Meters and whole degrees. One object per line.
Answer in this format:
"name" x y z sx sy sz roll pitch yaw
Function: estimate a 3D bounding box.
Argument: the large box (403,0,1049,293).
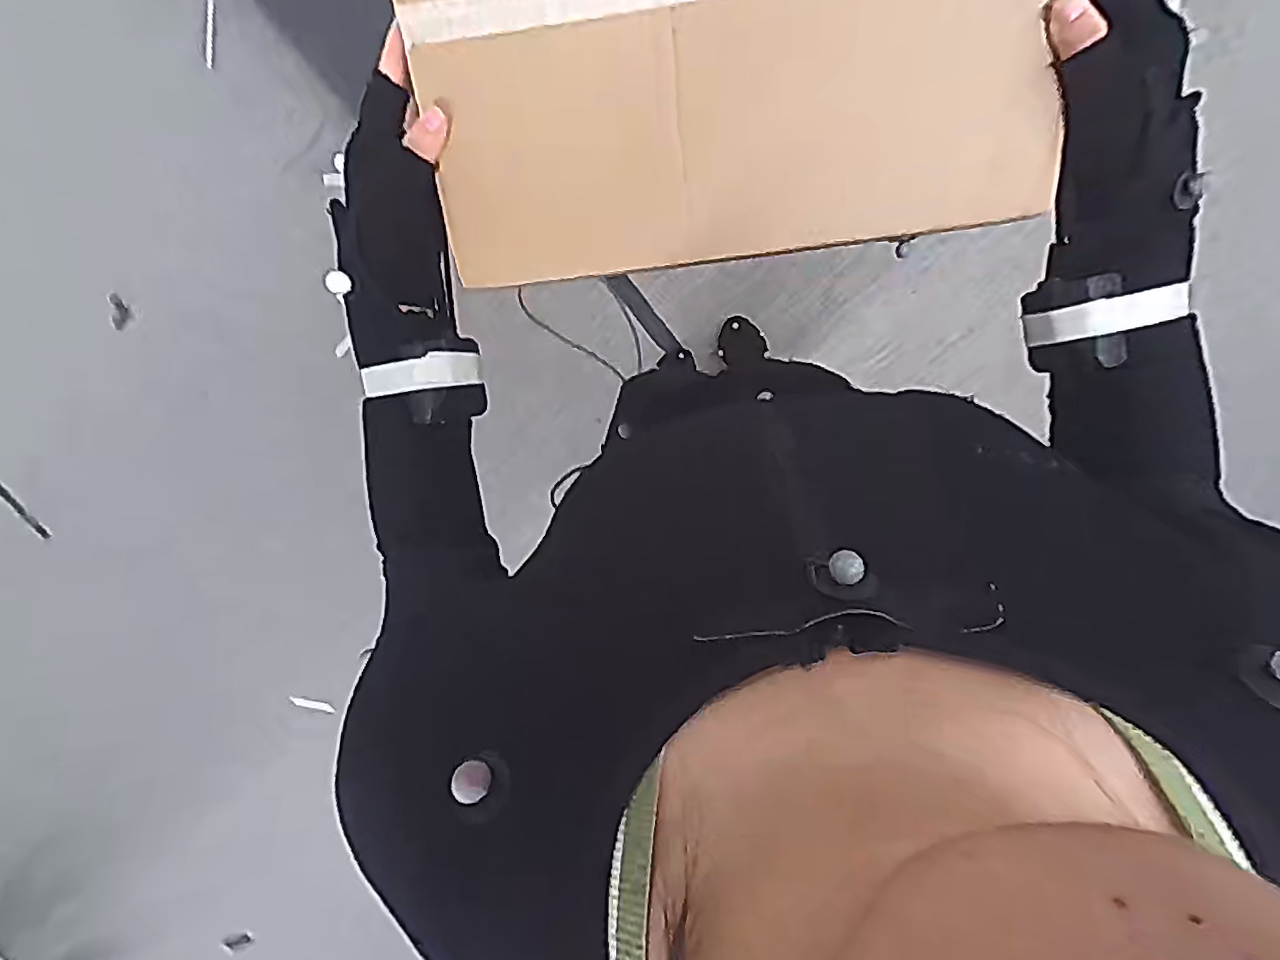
"large box" 0.056 -0.363 0.469 0.408 0.320 0.320 -7 111 5
